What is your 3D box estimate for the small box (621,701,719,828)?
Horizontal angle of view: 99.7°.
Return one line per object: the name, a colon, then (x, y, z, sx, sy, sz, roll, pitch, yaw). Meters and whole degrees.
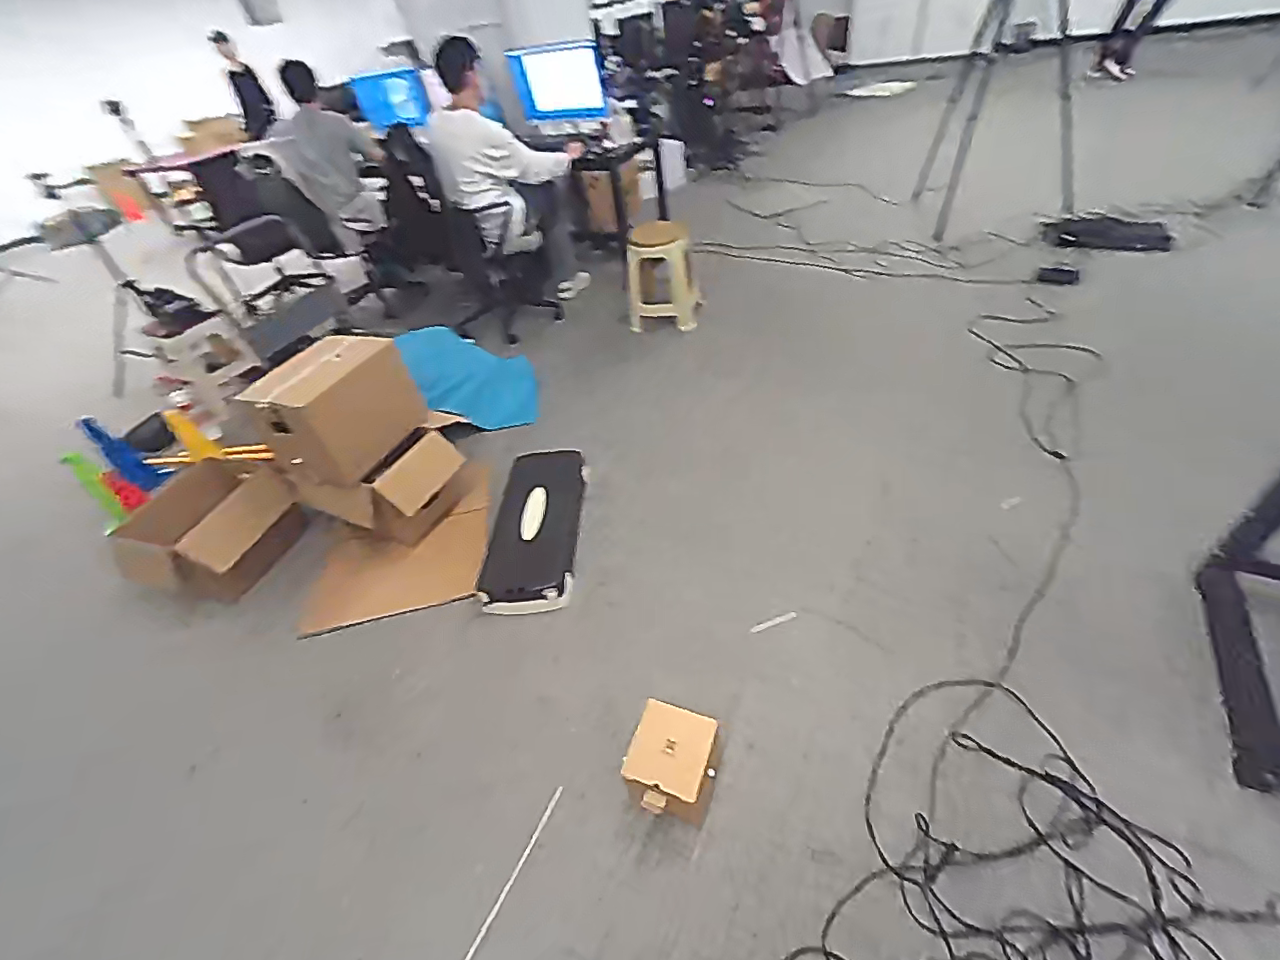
small box: (0.074, 0.634, 1.207, 0.168, 0.176, 0.179, 10, 47, 21)
